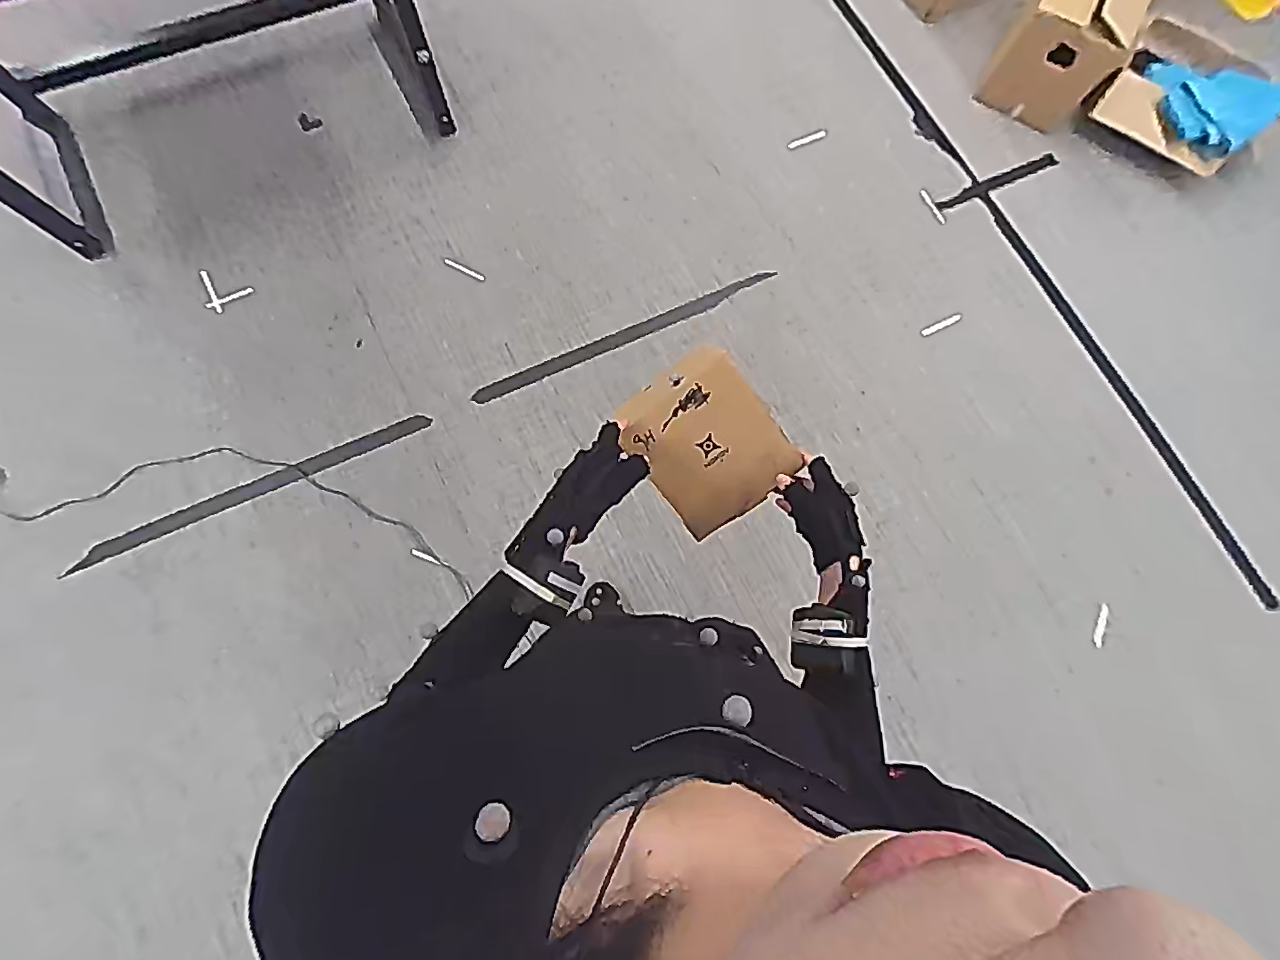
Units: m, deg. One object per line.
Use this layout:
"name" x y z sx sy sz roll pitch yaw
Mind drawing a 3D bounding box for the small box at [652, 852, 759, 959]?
"small box" 0.146 1.030 1.270 0.179 0.176 0.168 44 78 8

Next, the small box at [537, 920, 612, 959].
"small box" -0.161 1.169 1.224 0.168 0.176 0.179 45 78 7

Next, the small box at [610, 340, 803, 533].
"small box" 0.078 -0.068 0.711 0.168 0.176 0.179 -37 105 9
